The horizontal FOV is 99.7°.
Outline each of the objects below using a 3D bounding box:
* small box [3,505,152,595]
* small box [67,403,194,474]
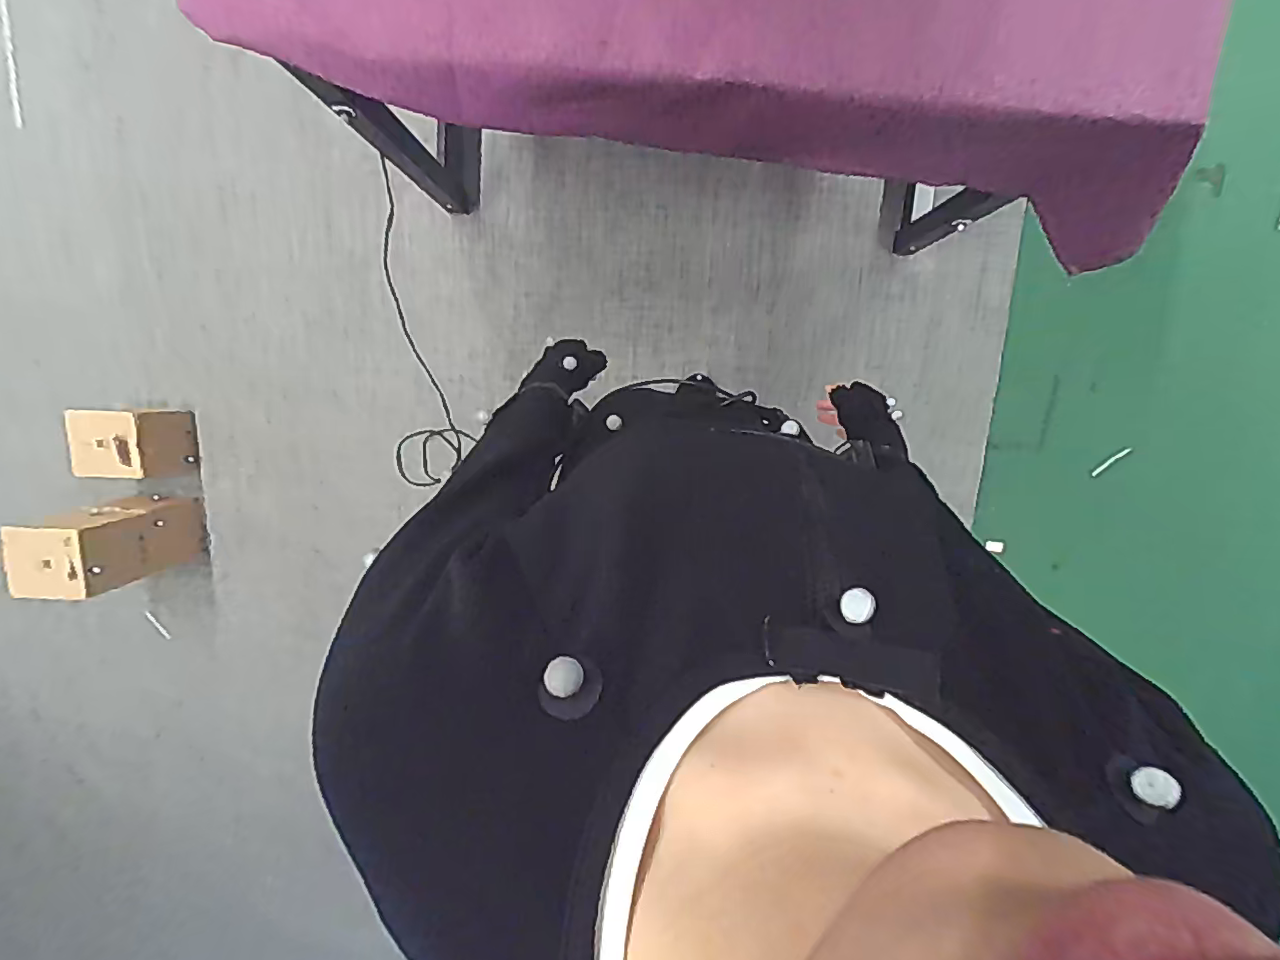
[{"bbox_3d":[-1.310,0.157,1.271,0.179,0.176,0.168,3,100,1],"label":"small box"},{"bbox_3d":[-1.294,-0.111,1.390,0.179,0.176,0.168,3,99,1],"label":"small box"}]
